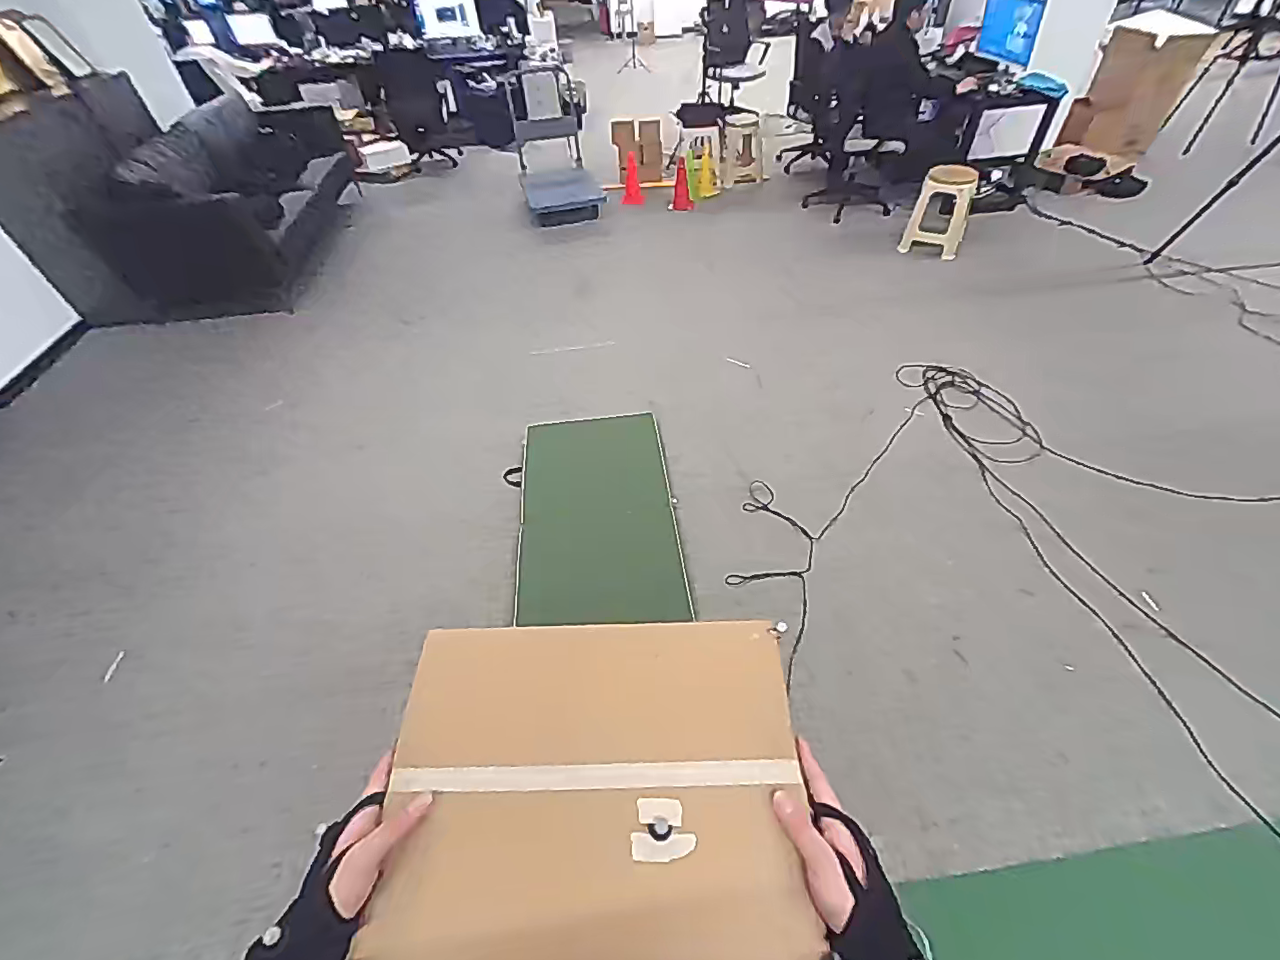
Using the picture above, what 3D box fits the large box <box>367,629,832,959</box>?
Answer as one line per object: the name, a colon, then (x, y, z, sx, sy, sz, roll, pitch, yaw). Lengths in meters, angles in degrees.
large box: (-0.035, 0.395, 0.656, 0.408, 0.320, 0.320, -2, 52, 2)
